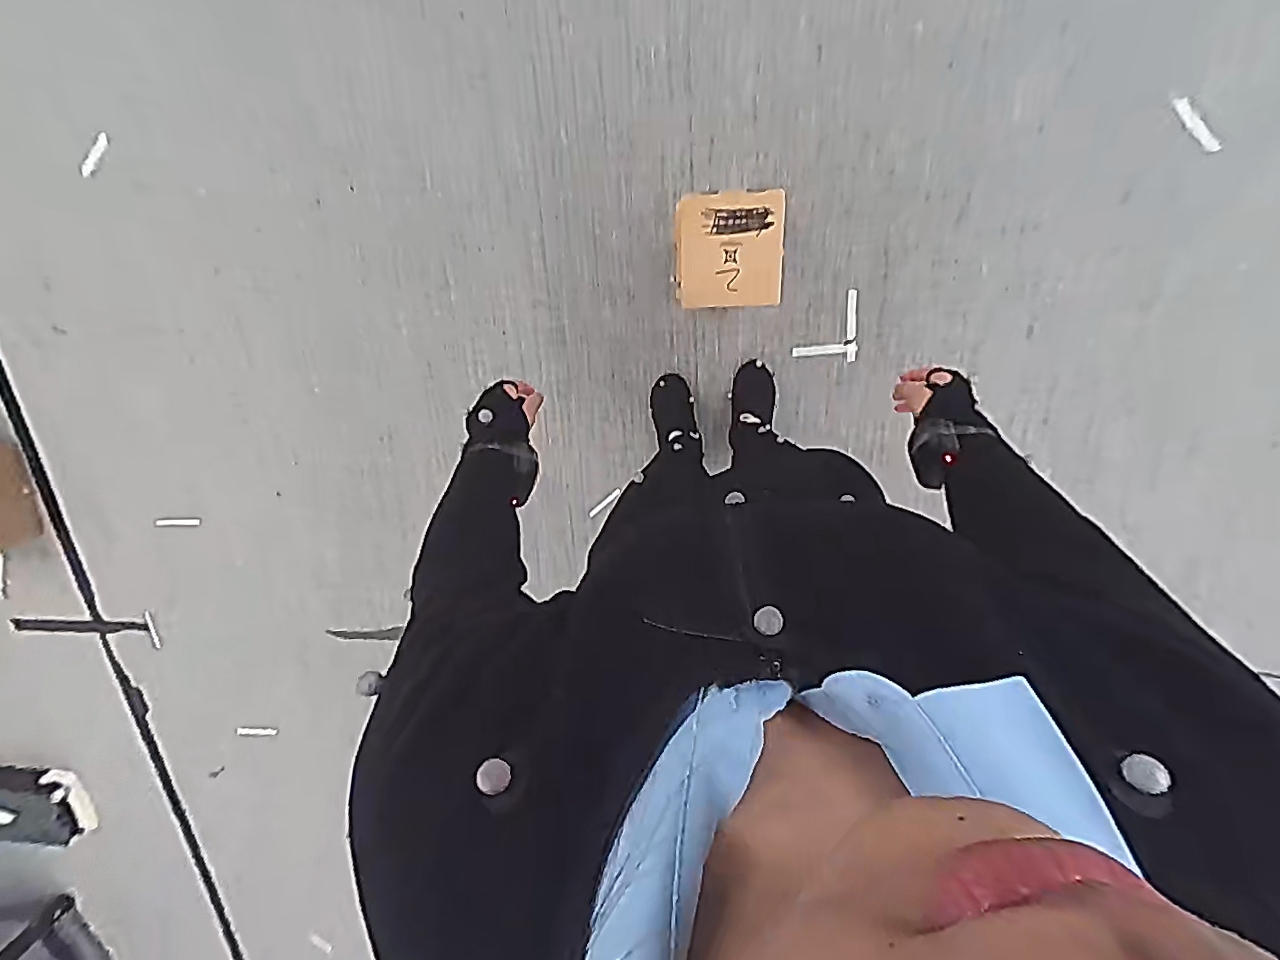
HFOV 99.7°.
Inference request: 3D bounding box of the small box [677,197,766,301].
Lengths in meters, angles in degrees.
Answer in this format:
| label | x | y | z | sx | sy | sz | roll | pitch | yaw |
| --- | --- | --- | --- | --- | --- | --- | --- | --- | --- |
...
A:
| label | x | y | z | sx | sy | sz | roll | pitch | yaw |
| --- | --- | --- | --- | --- | --- | --- | --- | --- | --- |
| small box | 0.159 | -0.459 | 1.099 | 0.168 | 0.176 | 0.179 | -1 | 108 | 5 |
